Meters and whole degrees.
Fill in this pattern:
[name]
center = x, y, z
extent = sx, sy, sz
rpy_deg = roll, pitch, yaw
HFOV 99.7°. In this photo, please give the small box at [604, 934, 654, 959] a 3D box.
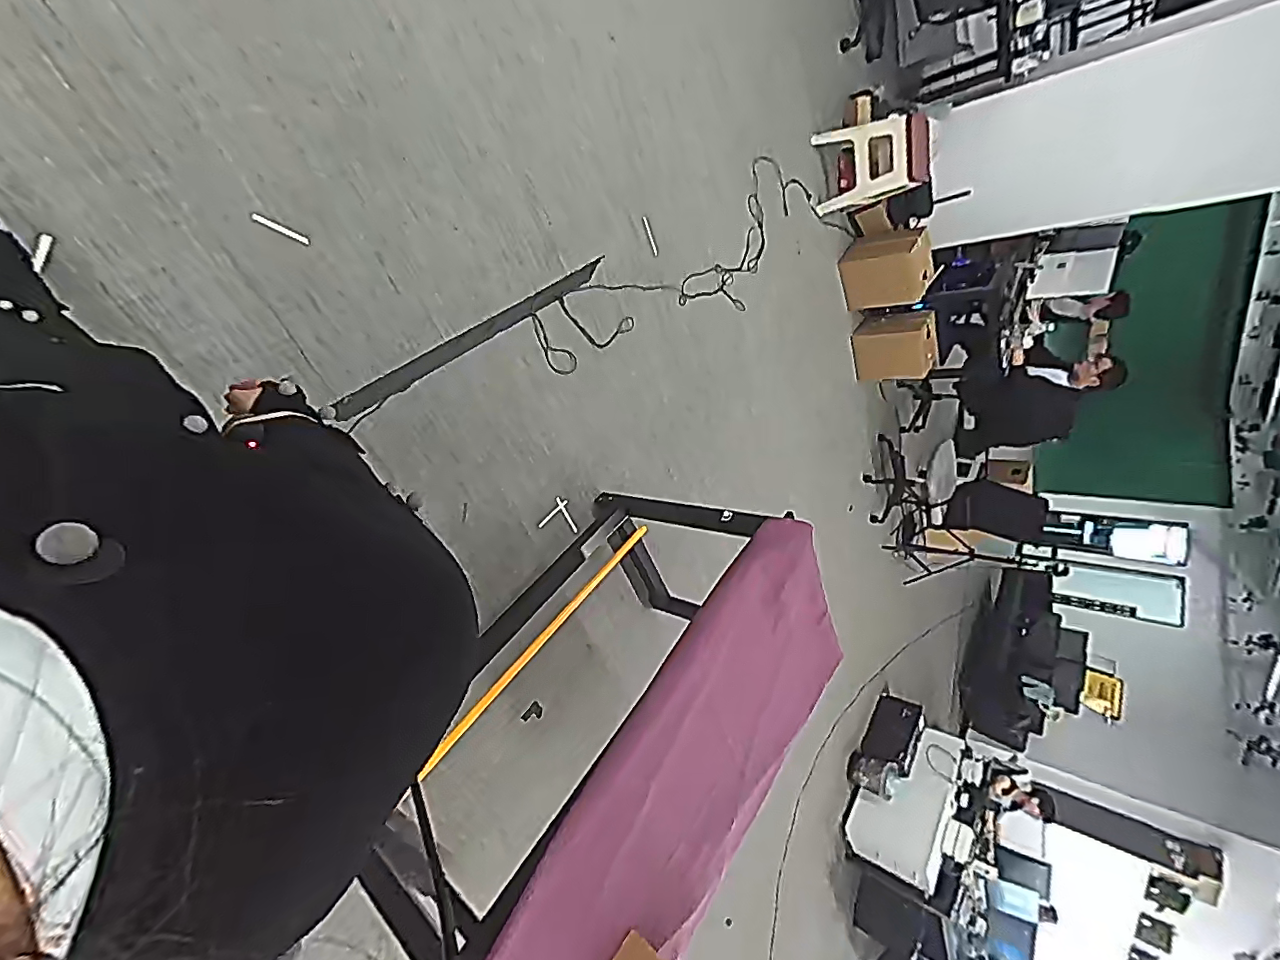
[small box]
center = -0.010, 1.027, 1.023
extent = 0.179, 0.176, 0.168
rpy_deg = -39, 121, -37
